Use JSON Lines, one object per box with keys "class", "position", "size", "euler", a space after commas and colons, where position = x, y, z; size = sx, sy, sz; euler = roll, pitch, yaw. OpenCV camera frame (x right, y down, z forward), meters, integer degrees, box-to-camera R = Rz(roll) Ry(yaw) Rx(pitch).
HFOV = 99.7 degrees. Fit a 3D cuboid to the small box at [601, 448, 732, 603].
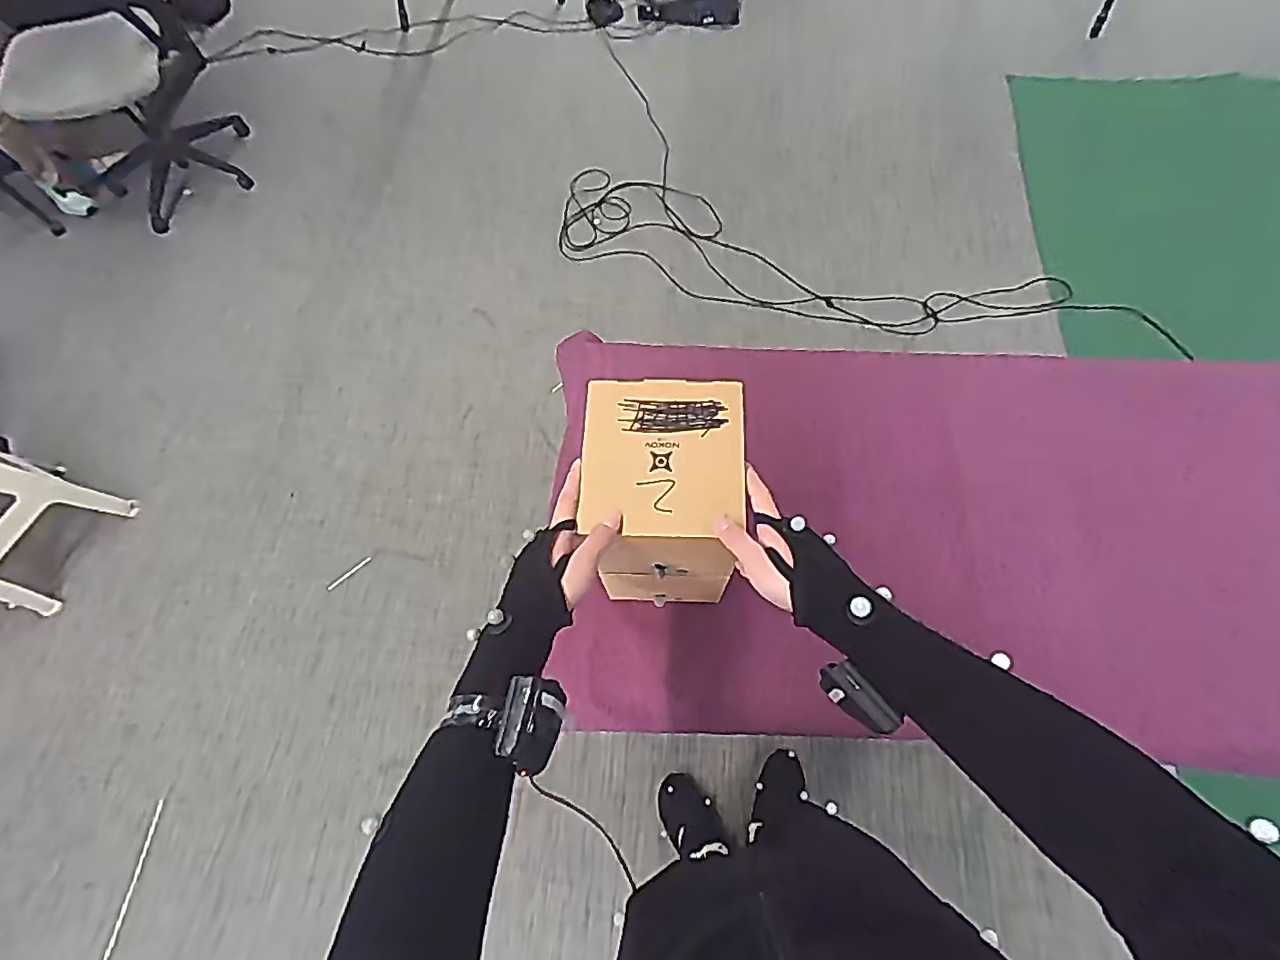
{"class": "small box", "position": [0.039, 0.070, 0.773], "size": [0.168, 0.176, 0.179], "euler": [1, 67, 3]}
